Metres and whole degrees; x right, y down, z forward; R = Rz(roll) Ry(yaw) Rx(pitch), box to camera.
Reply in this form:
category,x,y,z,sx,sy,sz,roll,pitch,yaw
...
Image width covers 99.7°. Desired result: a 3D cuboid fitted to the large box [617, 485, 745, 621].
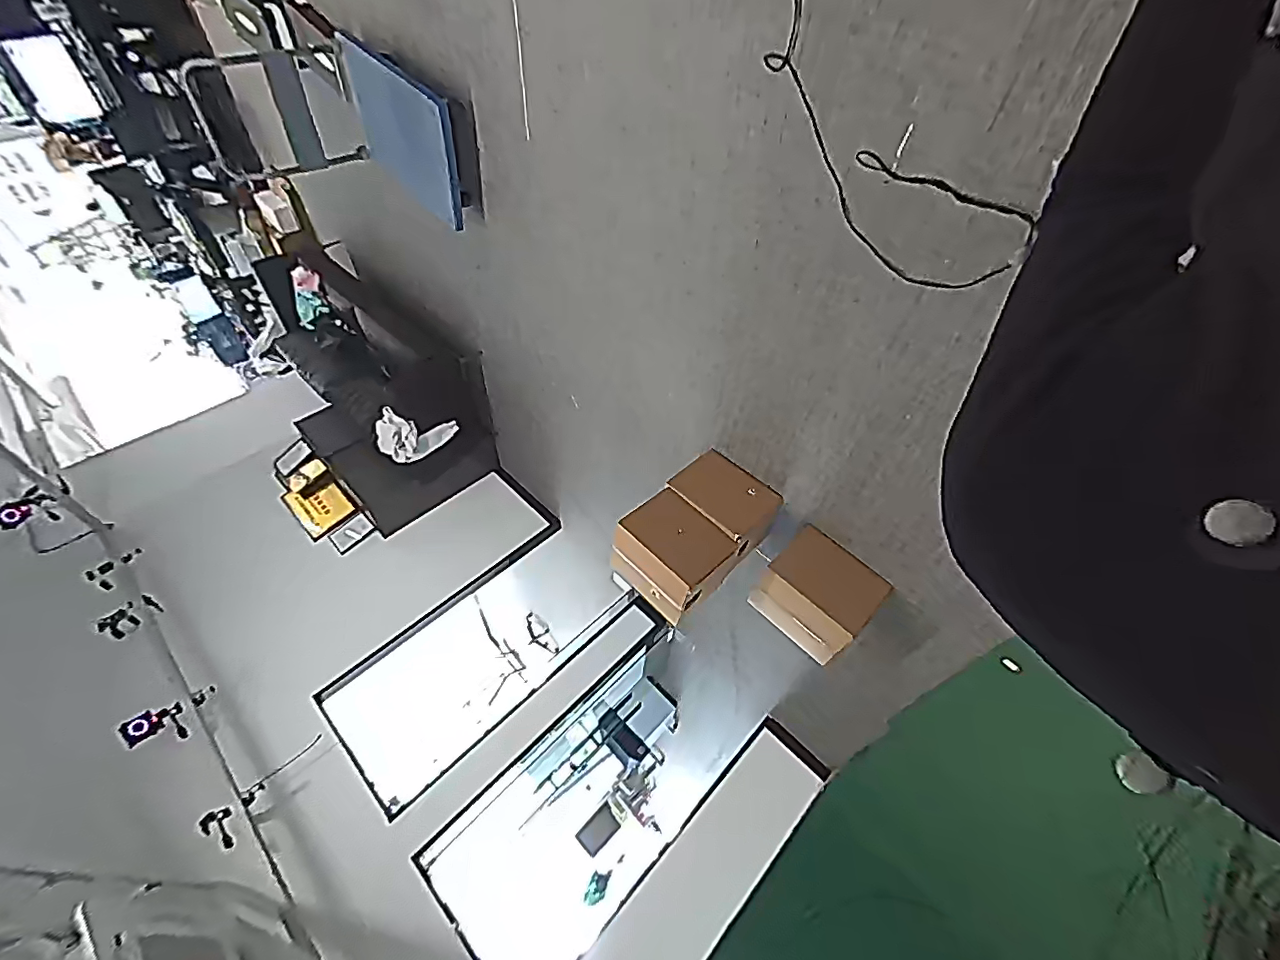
category,x,y,z,sx,sy,sz,roll,pitch,yaw
large box,0.161,0.295,2.267,0.408,0.320,0.320,39,144,24
